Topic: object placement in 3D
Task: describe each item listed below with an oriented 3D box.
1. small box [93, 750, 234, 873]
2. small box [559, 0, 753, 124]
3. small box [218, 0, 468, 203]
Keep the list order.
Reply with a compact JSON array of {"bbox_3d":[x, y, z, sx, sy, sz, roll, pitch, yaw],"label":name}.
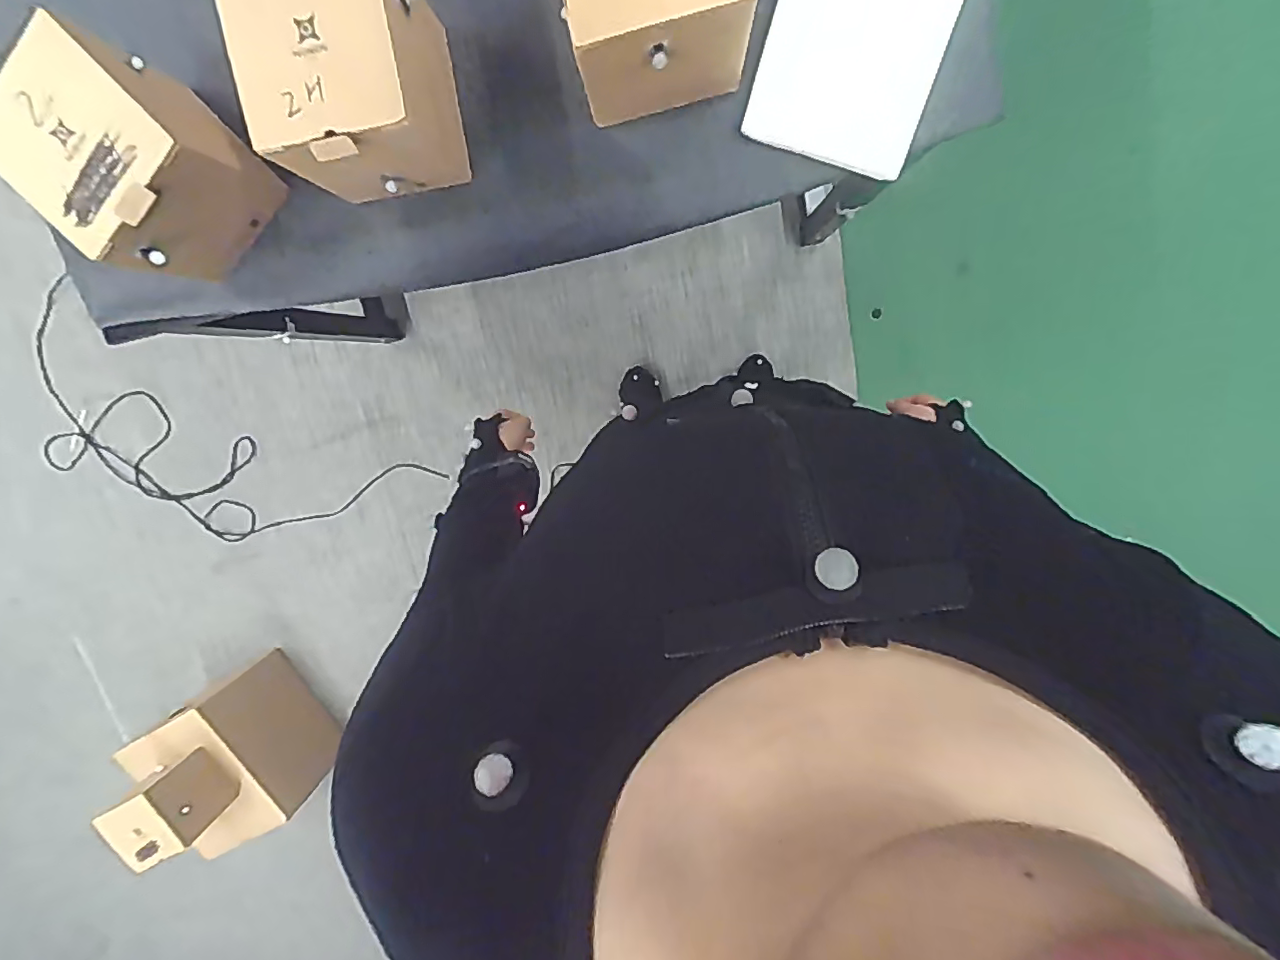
[{"bbox_3d":[-1.196,0.835,1.375,0.168,0.176,0.179,-29,99,8],"label":"small box"},{"bbox_3d":[0.009,-0.508,0.559,0.179,0.176,0.168,-11,100,8],"label":"small box"},{"bbox_3d":[-0.312,-0.435,0.598,0.168,0.176,0.179,-7,101,7],"label":"small box"}]
